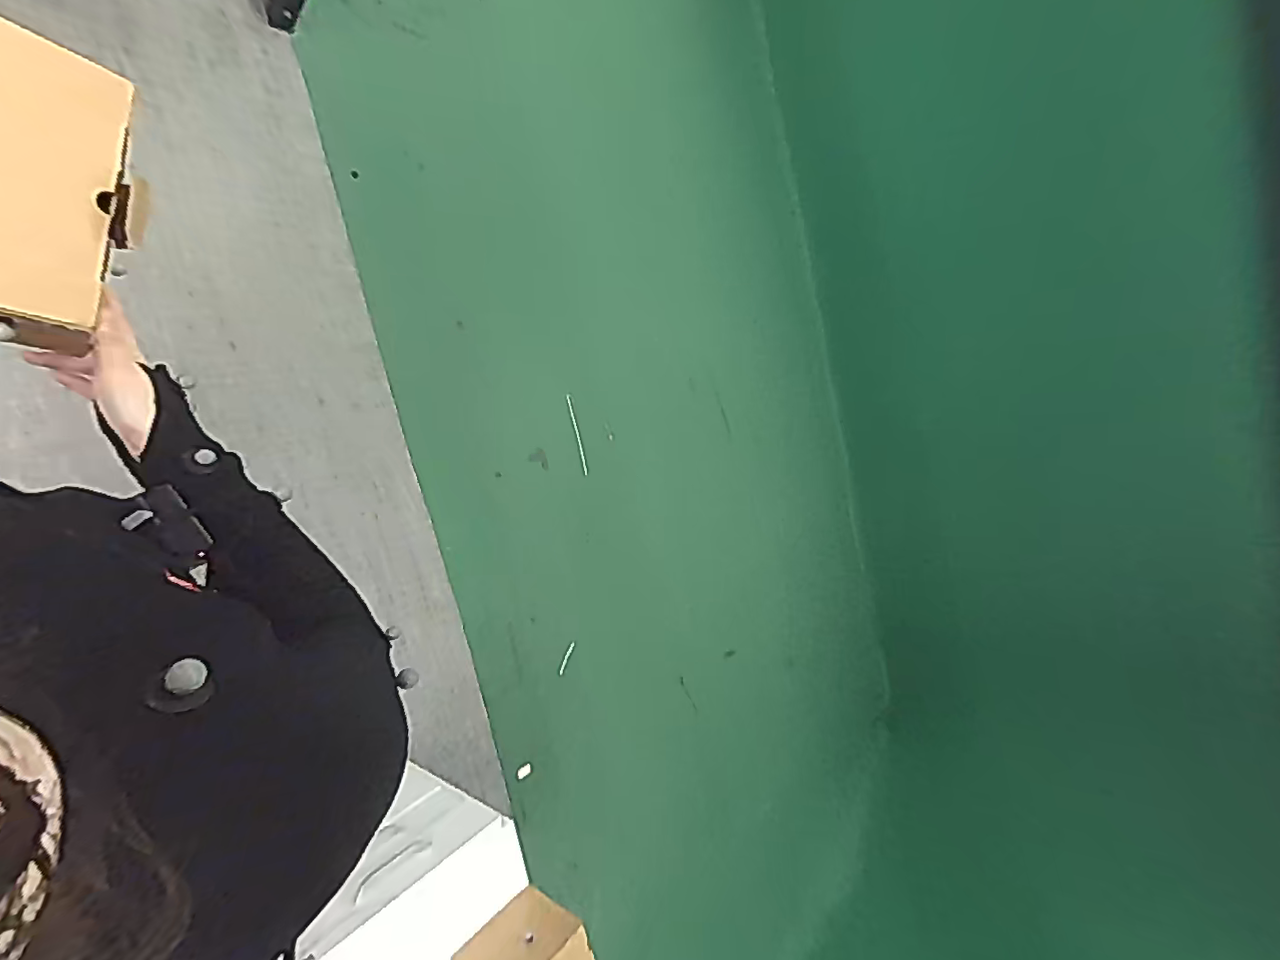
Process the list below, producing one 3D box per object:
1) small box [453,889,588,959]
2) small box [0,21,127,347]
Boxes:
[{"bbox_3d":[-0.207,0.885,0.958,0.179,0.176,0.168,-19,98,-47],"label":"small box"},{"bbox_3d":[-0.457,-0.189,0.336,0.179,0.176,0.168,8,87,-48],"label":"small box"}]
